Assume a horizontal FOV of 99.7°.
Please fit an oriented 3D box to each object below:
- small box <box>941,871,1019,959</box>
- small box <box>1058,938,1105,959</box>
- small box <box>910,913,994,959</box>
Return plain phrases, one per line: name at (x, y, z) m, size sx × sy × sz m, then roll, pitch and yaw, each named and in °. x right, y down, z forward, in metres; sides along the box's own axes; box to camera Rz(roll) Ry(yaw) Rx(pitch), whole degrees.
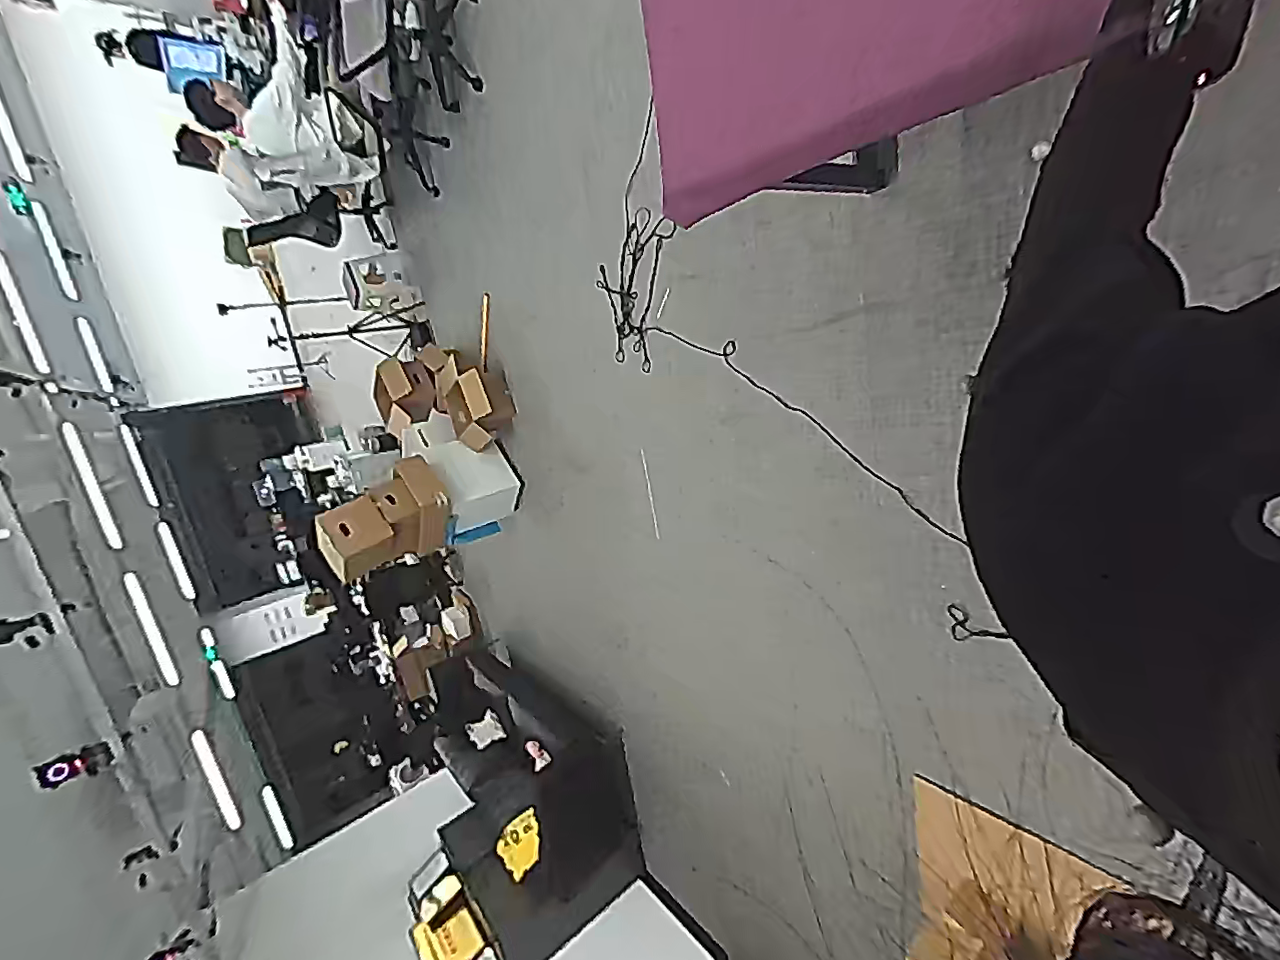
small box at (1.092, 1.434, 1.756) m, size 0.168 × 0.176 × 0.179 m, roll 32°, pitch 130°, yaw 42°
small box at (1.277, 1.464, 1.524) m, size 0.168 × 0.176 × 0.179 m, roll 10°, pitch 115°, yaw 52°
small box at (0.973, 1.490, 1.658) m, size 0.179 × 0.176 × 0.168 m, roll -21°, pitch 90°, yaw 55°
